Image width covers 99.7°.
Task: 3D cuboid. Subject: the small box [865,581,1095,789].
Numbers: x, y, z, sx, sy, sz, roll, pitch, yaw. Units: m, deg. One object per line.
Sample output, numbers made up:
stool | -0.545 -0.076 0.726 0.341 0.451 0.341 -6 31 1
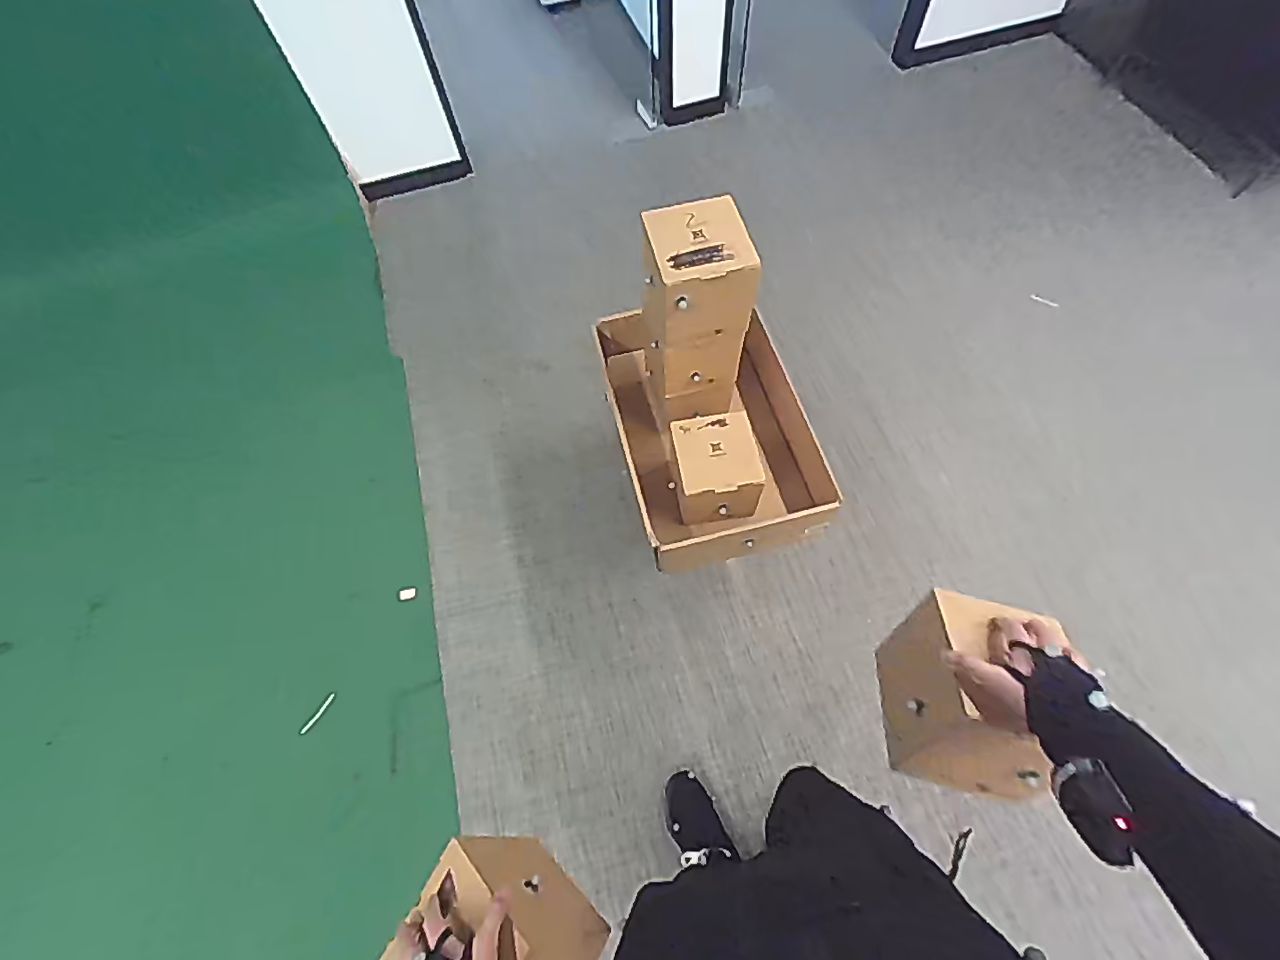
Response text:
small box | 0.410 0.265 0.692 0.168 0.176 0.179 16 43 1

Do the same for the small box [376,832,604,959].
small box | -0.181 0.580 0.675 0.179 0.176 0.168 20 73 41

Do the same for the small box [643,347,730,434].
small box | 0.104 -0.237 1.292 0.168 0.176 0.179 -14 66 -3

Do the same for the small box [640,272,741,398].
small box | 0.099 -0.302 1.144 0.168 0.176 0.179 -14 66 -5
